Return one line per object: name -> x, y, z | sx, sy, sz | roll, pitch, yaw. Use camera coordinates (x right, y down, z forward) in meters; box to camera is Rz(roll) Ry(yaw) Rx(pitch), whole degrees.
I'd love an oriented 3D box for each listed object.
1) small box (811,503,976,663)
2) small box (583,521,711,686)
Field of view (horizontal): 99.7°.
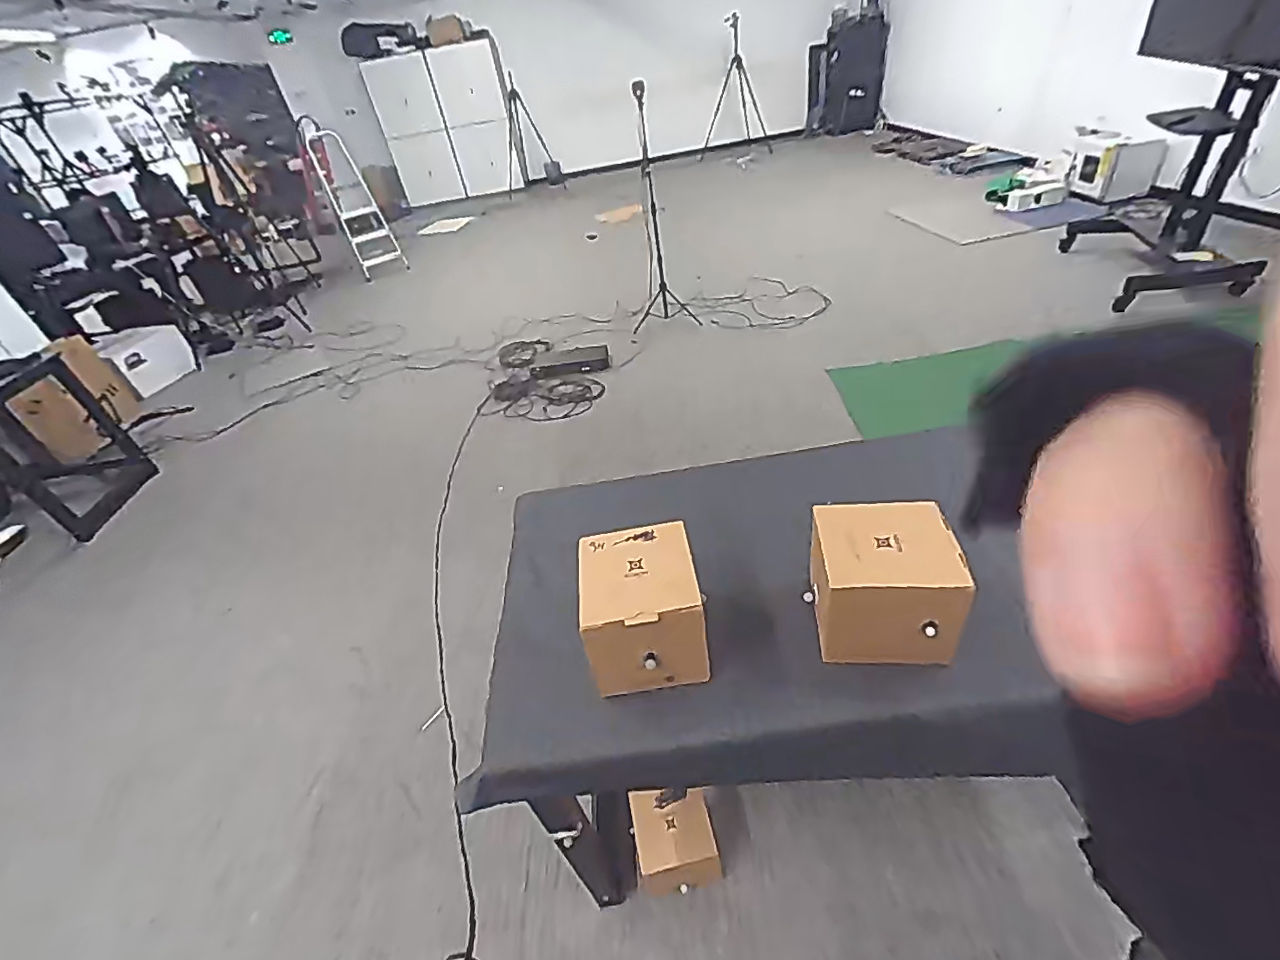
small box -> 0.354, 0.152, 0.795 | 0.179, 0.176, 0.168 | -4, 37, 10
small box -> 0.010, 0.191, 0.820 | 0.168, 0.176, 0.179 | -9, 37, 1
